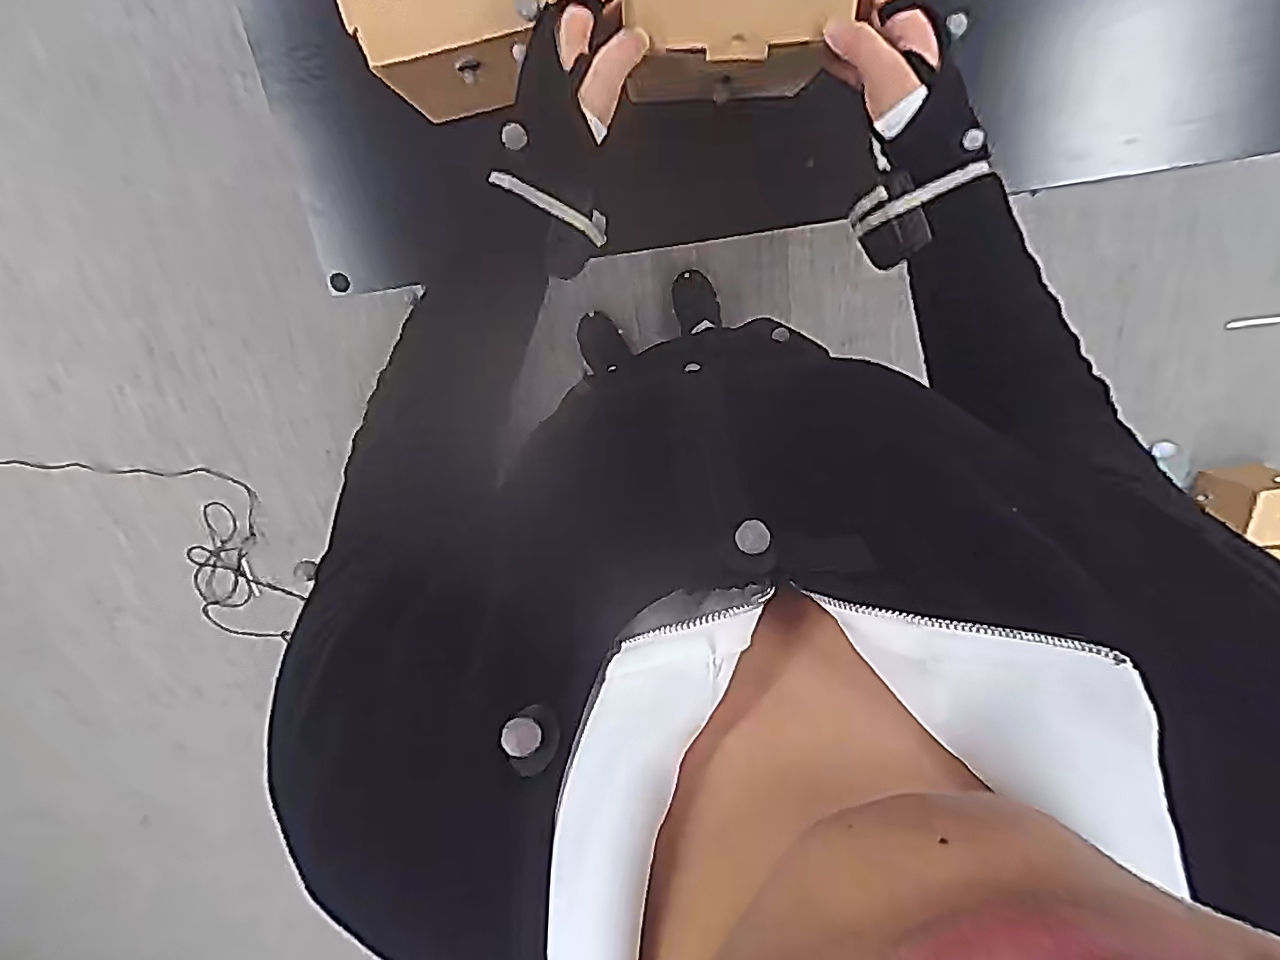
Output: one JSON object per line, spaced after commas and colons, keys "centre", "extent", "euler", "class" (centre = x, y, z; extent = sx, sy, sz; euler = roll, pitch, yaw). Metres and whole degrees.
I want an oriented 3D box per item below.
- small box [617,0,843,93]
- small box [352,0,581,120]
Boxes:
{"centre": [0.066, -0.431, 0.437], "extent": [0.168, 0.176, 0.179], "euler": [-2, 116, 2], "class": "small box"}
{"centre": [-0.163, -0.470, 0.510], "extent": [0.179, 0.176, 0.168], "euler": [-13, 110, 3], "class": "small box"}
